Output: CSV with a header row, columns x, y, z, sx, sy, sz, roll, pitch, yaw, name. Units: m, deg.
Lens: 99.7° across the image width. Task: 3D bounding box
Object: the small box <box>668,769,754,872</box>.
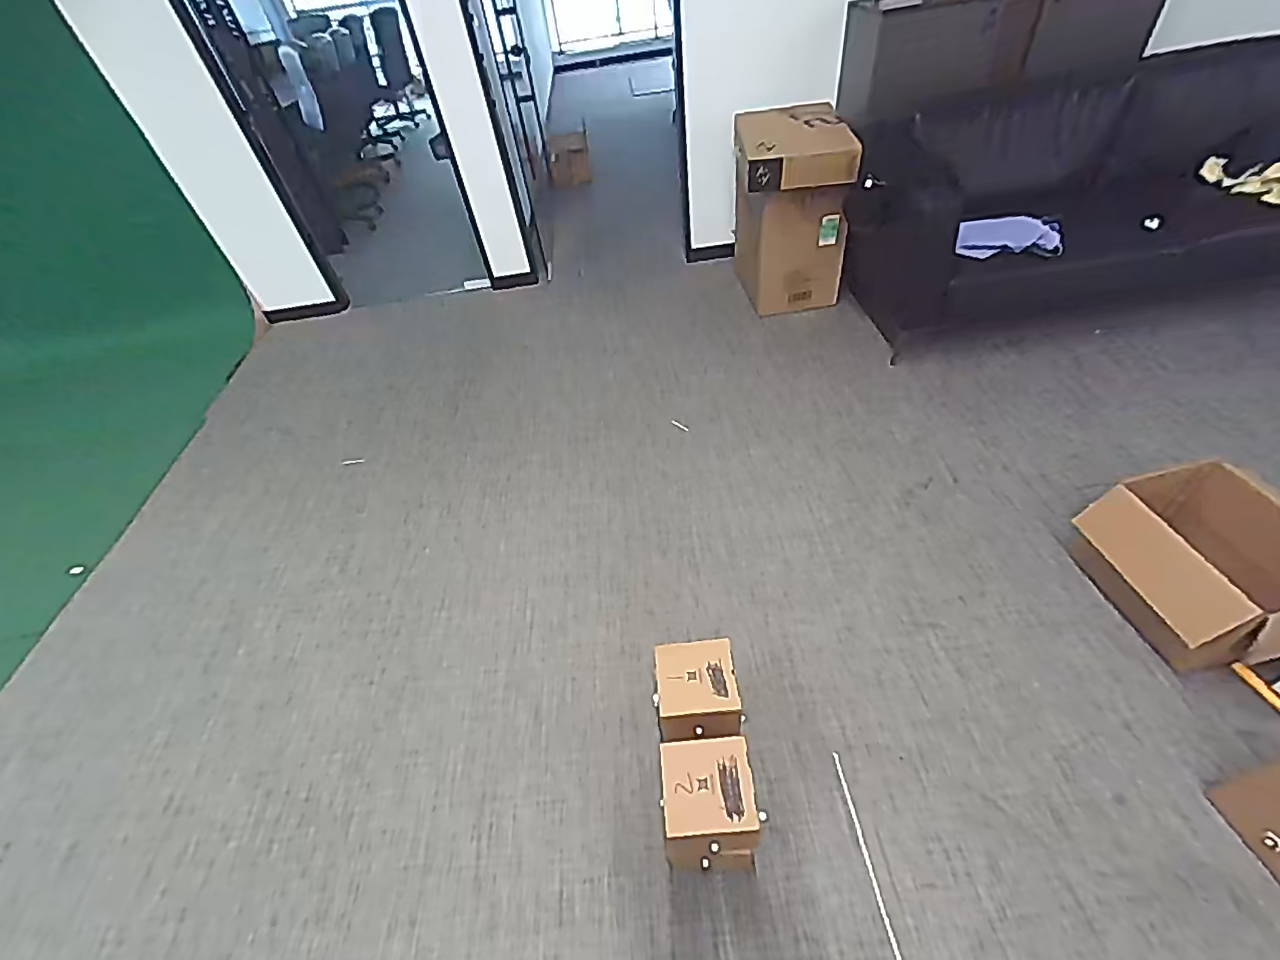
x,y,z,sx,sy,sz,roll,pitch,yaw,name
0.158,0.759,1.204,0.179,0.176,0.168,-4,46,6,small box
